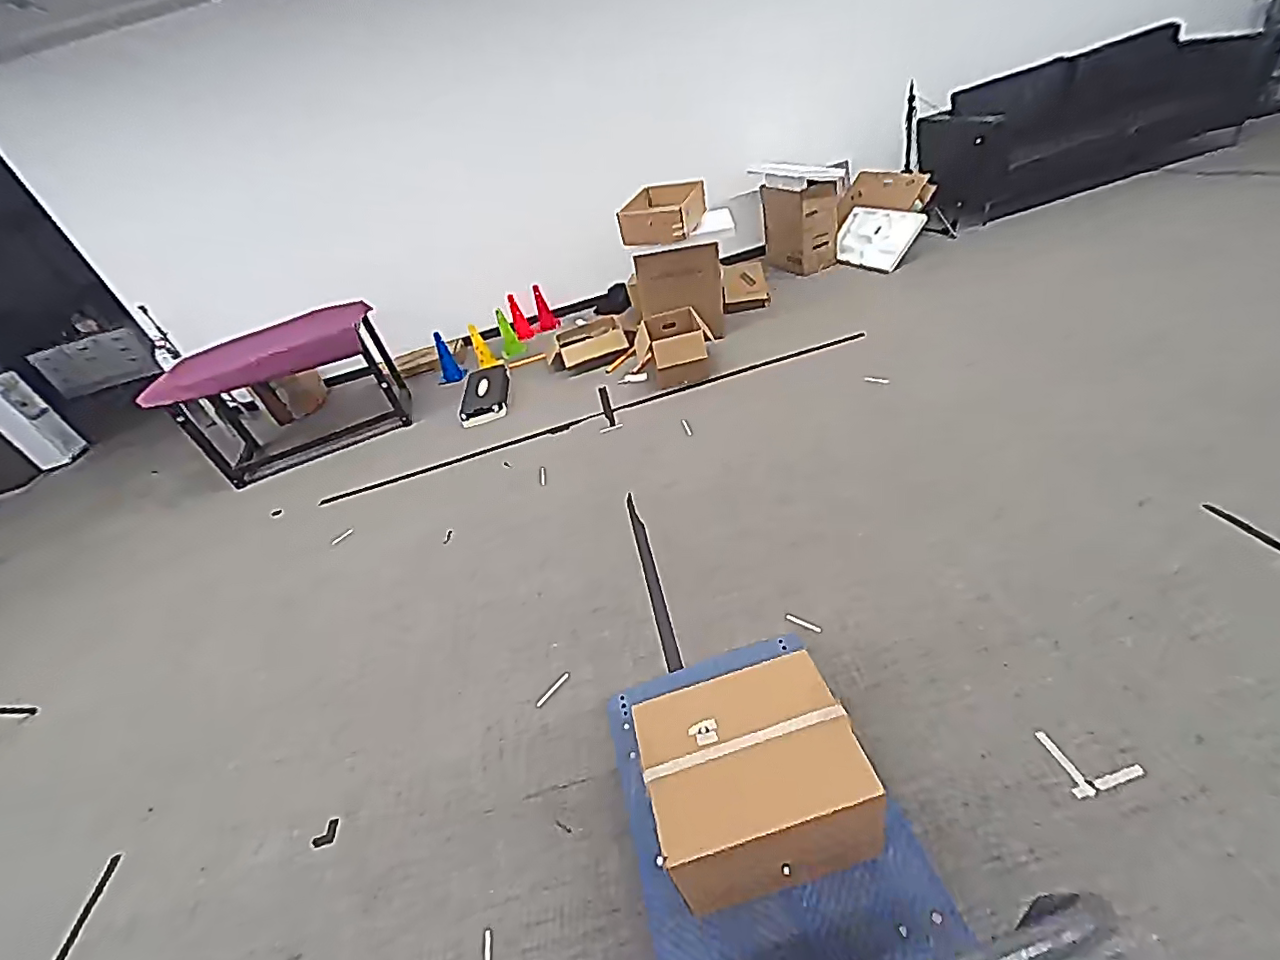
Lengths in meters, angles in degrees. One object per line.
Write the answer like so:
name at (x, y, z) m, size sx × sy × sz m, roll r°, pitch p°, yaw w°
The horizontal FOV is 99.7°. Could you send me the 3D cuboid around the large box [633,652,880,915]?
large box at (0.240, 0.639, 1.149) m, size 0.408 × 0.320 × 0.320 m, roll -19°, pitch 35°, yaw -1°
